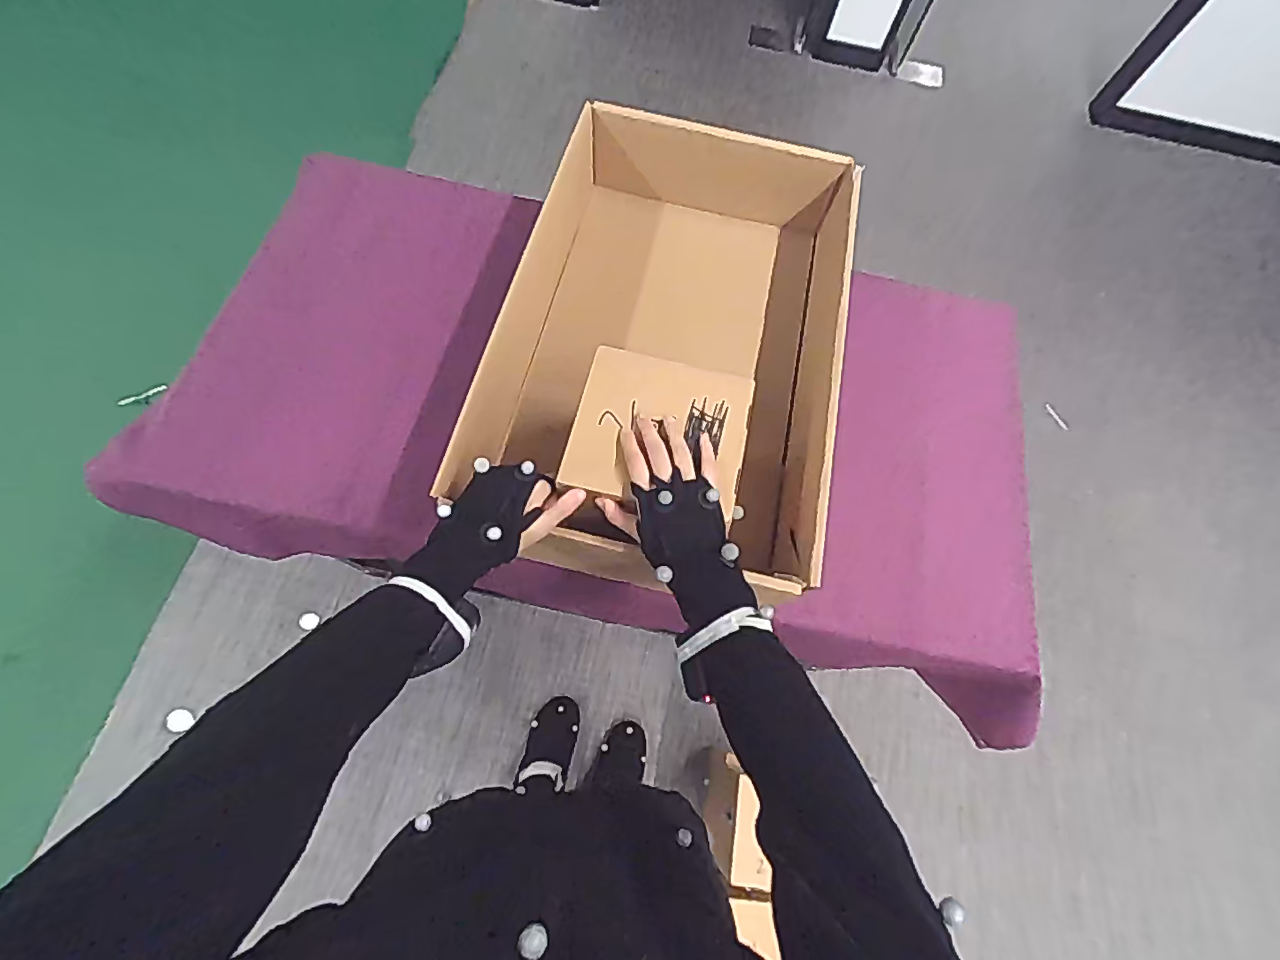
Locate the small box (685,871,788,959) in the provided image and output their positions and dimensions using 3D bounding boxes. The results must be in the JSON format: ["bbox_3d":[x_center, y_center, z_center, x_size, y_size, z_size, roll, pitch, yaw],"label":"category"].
[{"bbox_3d":[0.194,0.934,1.116,0.179,0.176,0.168,8,68,-2],"label":"small box"}]

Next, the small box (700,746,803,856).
[{"bbox_3d":[0.244,0.704,1.206,0.179,0.176,0.168,11,69,1],"label":"small box"}]
